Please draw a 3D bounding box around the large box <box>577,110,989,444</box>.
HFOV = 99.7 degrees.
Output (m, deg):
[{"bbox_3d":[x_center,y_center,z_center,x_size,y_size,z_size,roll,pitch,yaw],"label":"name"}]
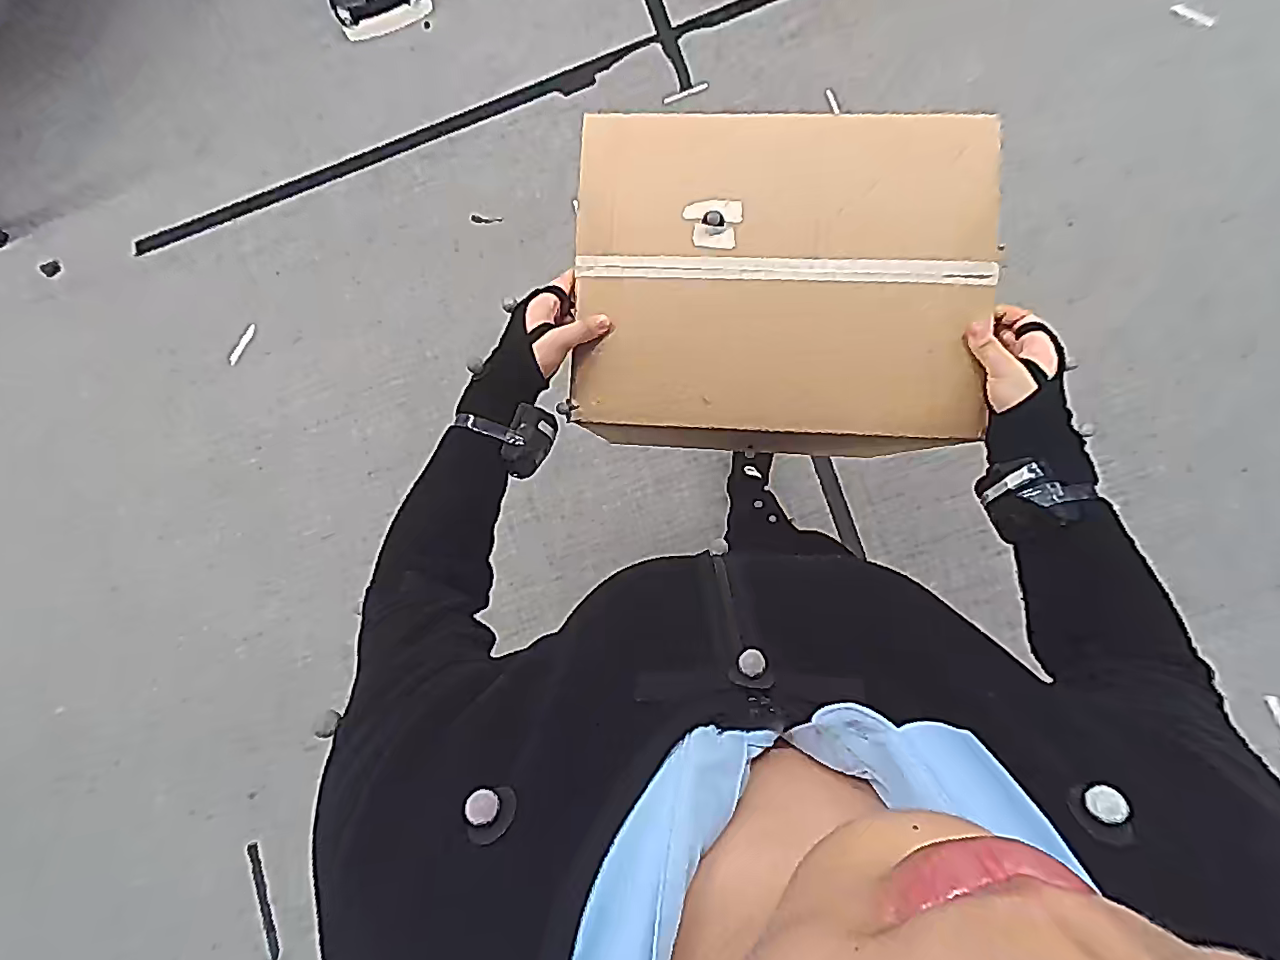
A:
[{"bbox_3d":[0.153,-0.212,0.690,0.408,0.320,0.320,3,89,6],"label":"large box"}]
